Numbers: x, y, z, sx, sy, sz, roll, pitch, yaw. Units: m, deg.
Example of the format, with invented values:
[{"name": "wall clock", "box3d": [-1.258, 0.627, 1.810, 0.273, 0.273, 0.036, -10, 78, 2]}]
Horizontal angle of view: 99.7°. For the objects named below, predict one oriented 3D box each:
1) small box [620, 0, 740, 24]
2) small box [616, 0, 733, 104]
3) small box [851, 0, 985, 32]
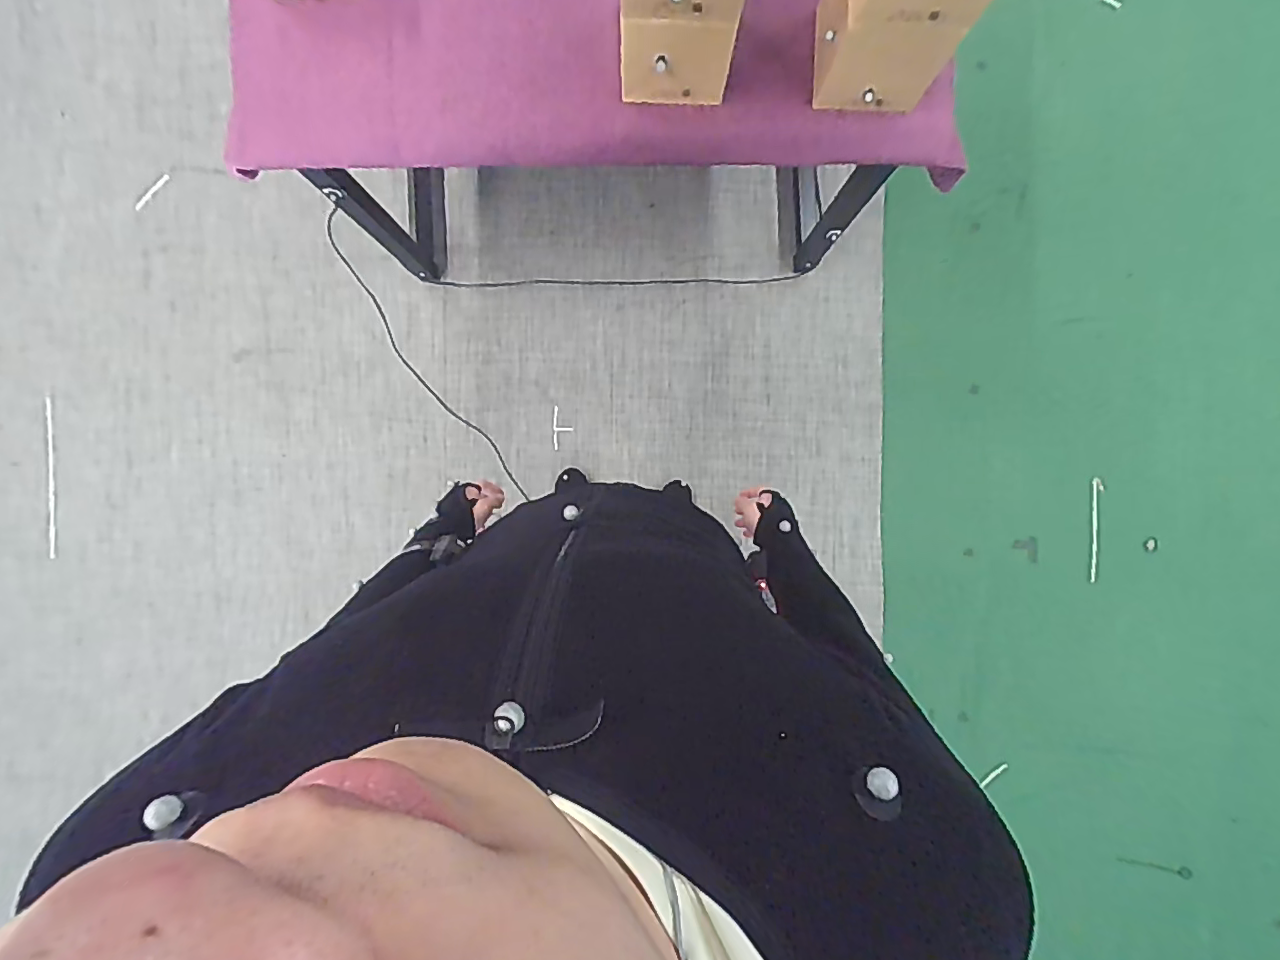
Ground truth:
[{"name": "small box", "box3d": [0.055, -0.720, 0.665, 0.168, 0.176, 0.179, 2, 90, 0]}, {"name": "small box", "box3d": [0.053, -0.716, 0.829, 0.168, 0.176, 0.179, 1, 89, 0]}, {"name": "small box", "box3d": [0.372, -0.709, 0.664, 0.168, 0.176, 0.179, 3, 89, 1]}]
